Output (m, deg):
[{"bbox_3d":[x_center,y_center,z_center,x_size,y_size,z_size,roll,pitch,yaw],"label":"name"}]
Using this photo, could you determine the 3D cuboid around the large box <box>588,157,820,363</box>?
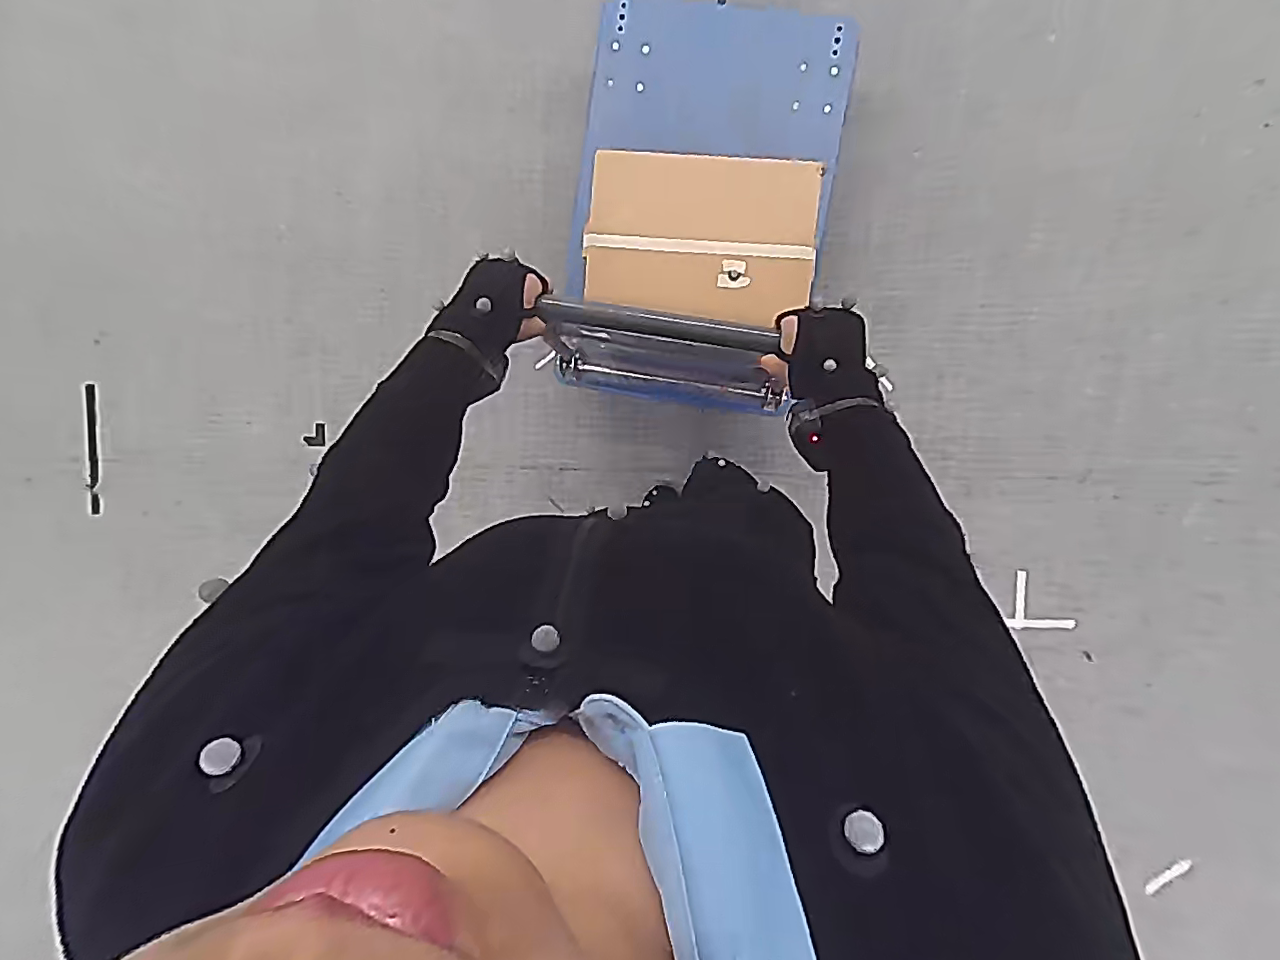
[{"bbox_3d":[0.118,-0.428,1.124,0.408,0.320,0.320,5,96,3],"label":"large box"}]
